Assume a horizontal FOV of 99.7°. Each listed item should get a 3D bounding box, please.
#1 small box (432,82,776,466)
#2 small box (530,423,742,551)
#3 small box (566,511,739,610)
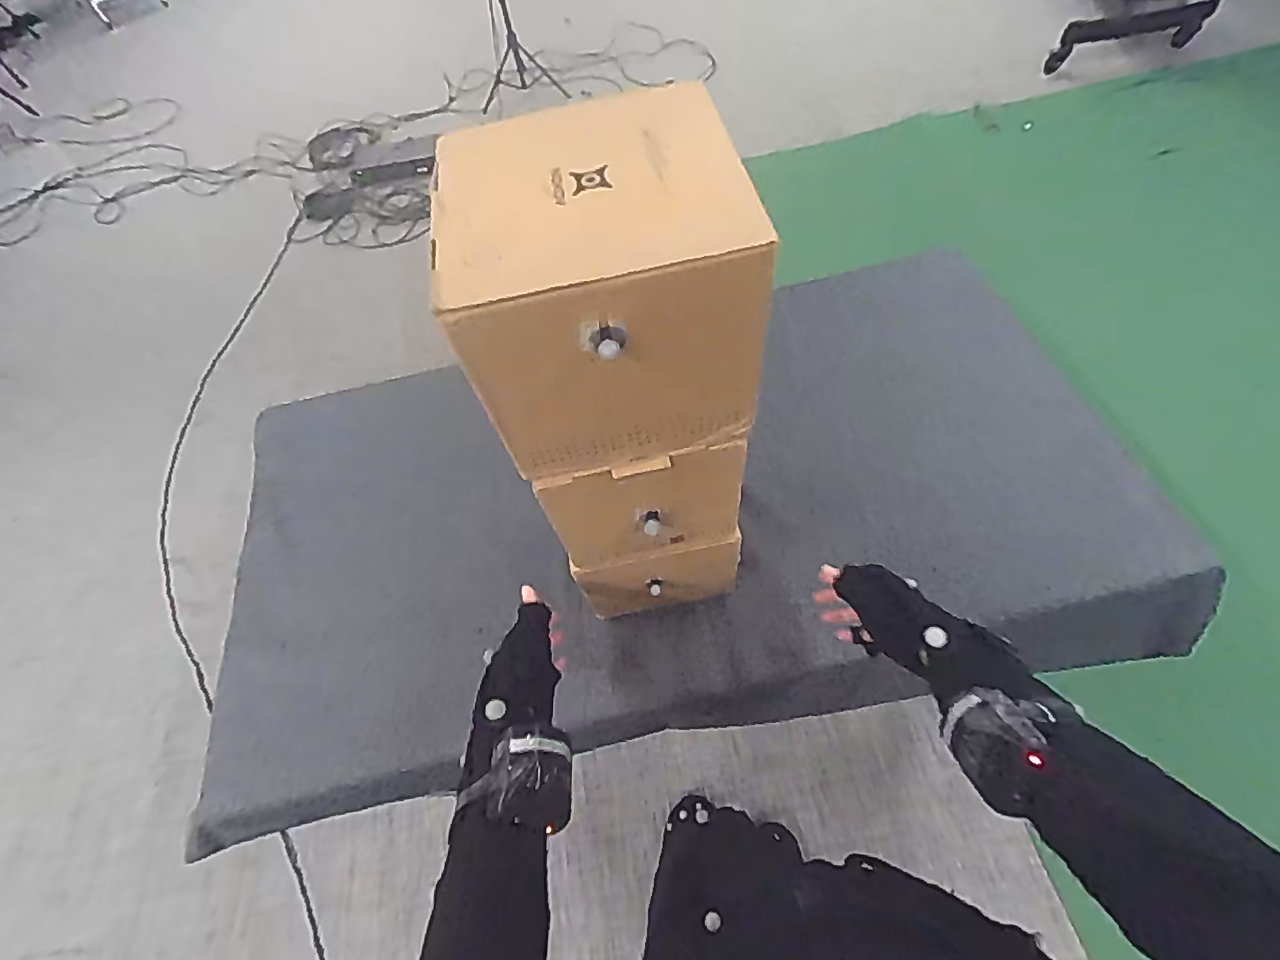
[{"bbox_3d":[-0.022,-0.127,0.372,0.179,0.176,0.168,-11,61,-1],"label":"small box"},{"bbox_3d":[-0.008,-0.045,0.512,0.168,0.176,0.179,-12,60,-1],"label":"small box"},{"bbox_3d":[0.009,0.043,0.648,0.179,0.176,0.168,-12,60,1],"label":"small box"}]
